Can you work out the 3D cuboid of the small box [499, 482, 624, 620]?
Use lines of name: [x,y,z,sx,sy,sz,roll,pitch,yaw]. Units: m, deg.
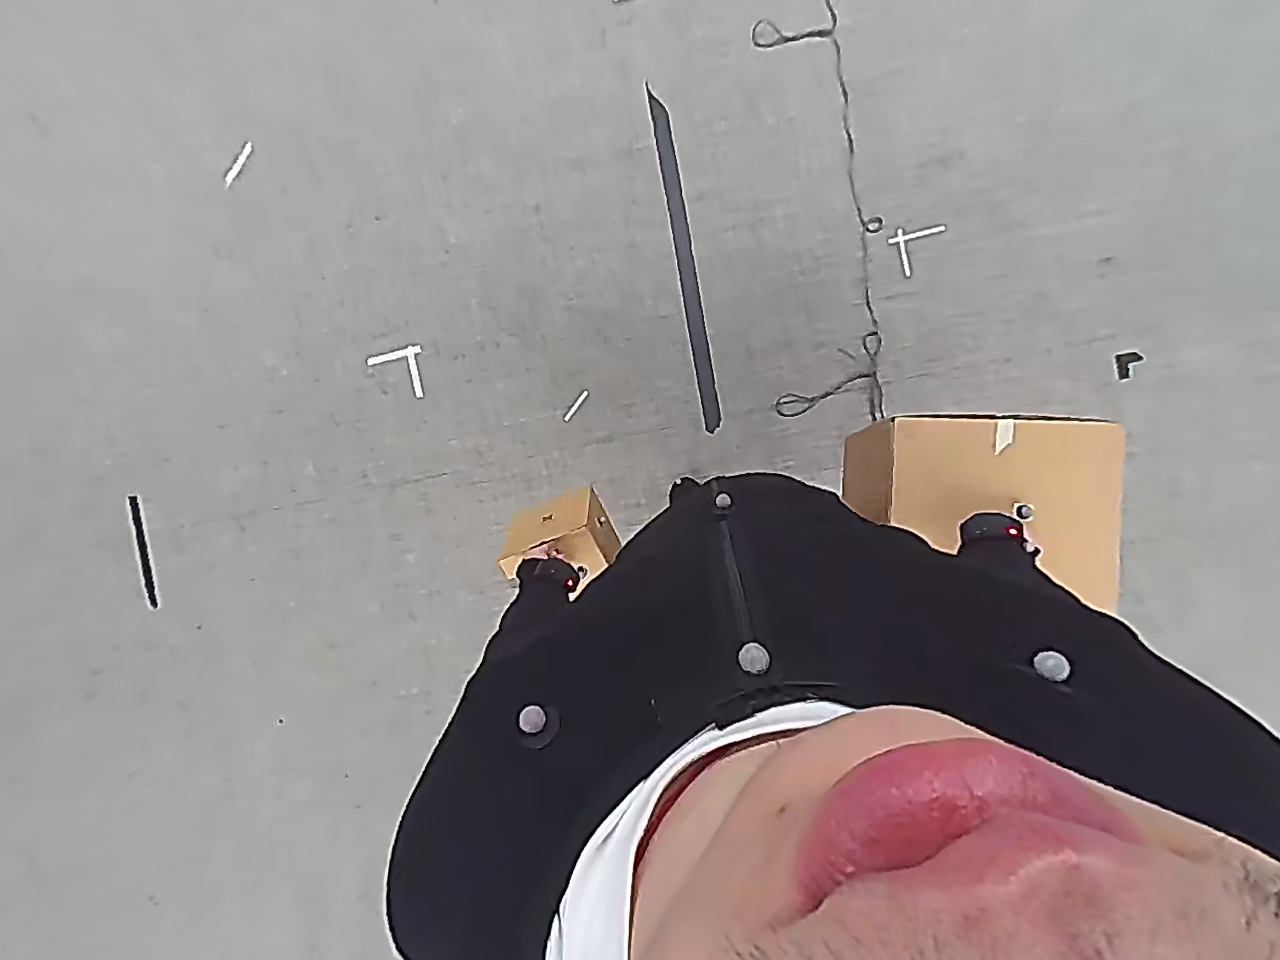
small box: [-0.136,0.136,1.002,0.168,0.179,0.176,-21,114,6]
